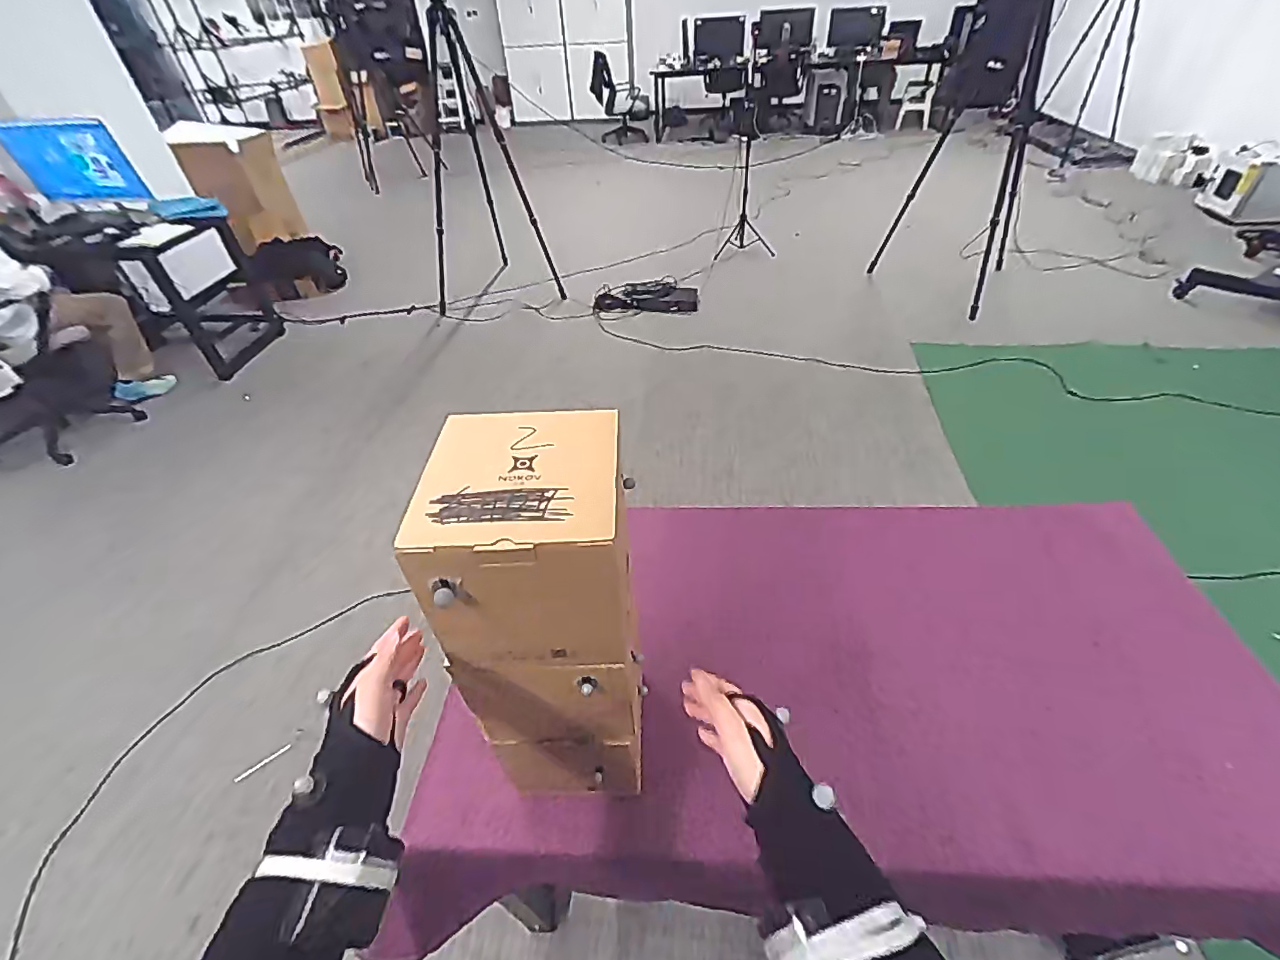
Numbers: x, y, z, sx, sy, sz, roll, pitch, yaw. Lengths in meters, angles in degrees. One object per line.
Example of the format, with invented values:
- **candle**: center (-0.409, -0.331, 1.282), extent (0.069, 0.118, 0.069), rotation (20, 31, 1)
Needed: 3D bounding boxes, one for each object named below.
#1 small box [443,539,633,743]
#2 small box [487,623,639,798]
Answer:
- **small box**: center (-0.099, 0.185, 0.619), extent (0.179, 0.176, 0.168), rotation (-1, 42, 0)
- **small box**: center (-0.088, 0.306, 0.726), extent (0.168, 0.176, 0.179), rotation (0, 41, 2)
